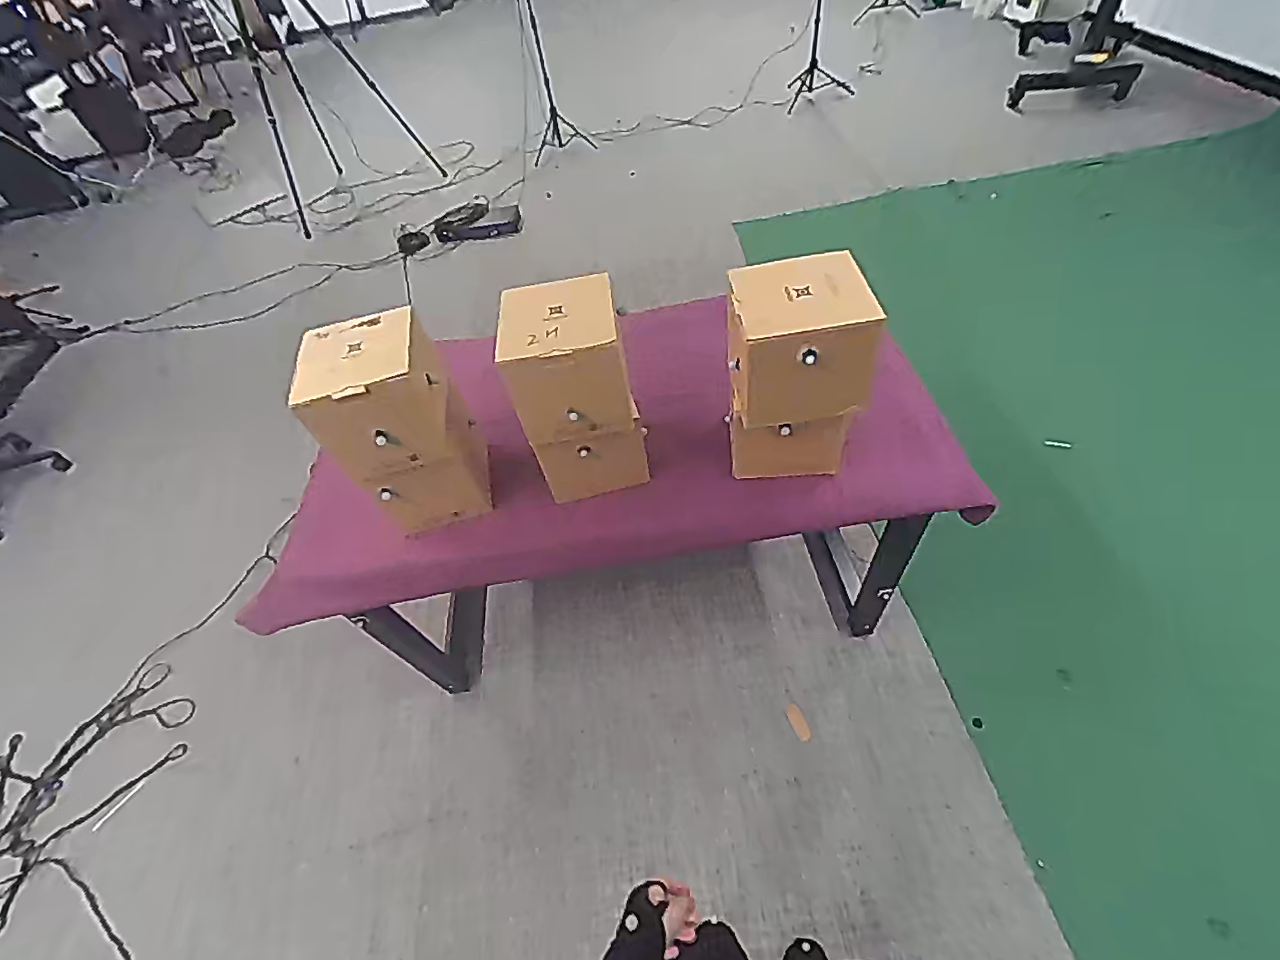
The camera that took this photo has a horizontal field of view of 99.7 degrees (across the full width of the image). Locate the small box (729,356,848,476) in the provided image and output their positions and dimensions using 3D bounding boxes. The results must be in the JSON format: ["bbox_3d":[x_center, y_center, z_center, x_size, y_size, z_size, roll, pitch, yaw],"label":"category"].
[{"bbox_3d":[0.243,-0.120,0.923,0.179,0.176,0.168,-3,51,9],"label":"small box"}]

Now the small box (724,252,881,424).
[{"bbox_3d":[0.221,-0.197,0.777,0.179,0.176,0.168,-7,51,5],"label":"small box"}]

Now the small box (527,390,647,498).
[{"bbox_3d":[-0.096,-0.089,0.955,0.179,0.176,0.168,-14,52,-3],"label":"small box"}]

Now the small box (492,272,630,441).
[{"bbox_3d":[-0.111,-0.185,0.821,0.168,0.176,0.179,-9,52,2],"label":"small box"}]

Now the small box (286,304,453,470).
[{"bbox_3d":[-0.397,-0.134,0.828,0.168,0.176,0.179,-15,52,-3],"label":"small box"}]
